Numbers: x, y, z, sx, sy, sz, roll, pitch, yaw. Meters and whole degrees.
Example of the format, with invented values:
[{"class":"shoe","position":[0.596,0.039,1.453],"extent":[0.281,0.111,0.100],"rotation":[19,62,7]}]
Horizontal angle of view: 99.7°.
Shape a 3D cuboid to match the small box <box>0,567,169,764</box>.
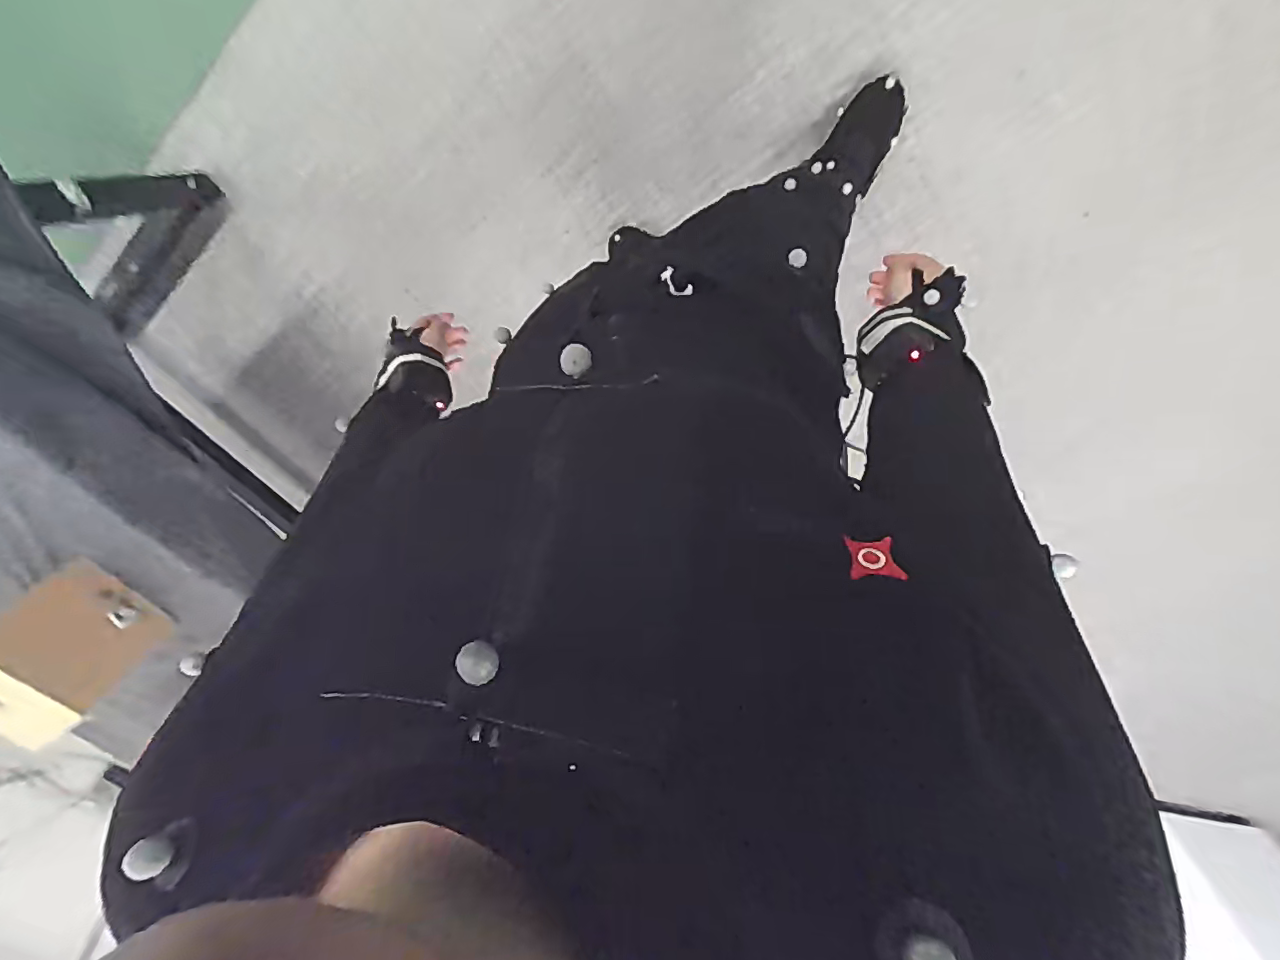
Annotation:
[{"class":"small box","position":[-0.831,0.256,0.759],"extent":[0.179,0.176,0.168],"rotation":[-30,115,21]}]
